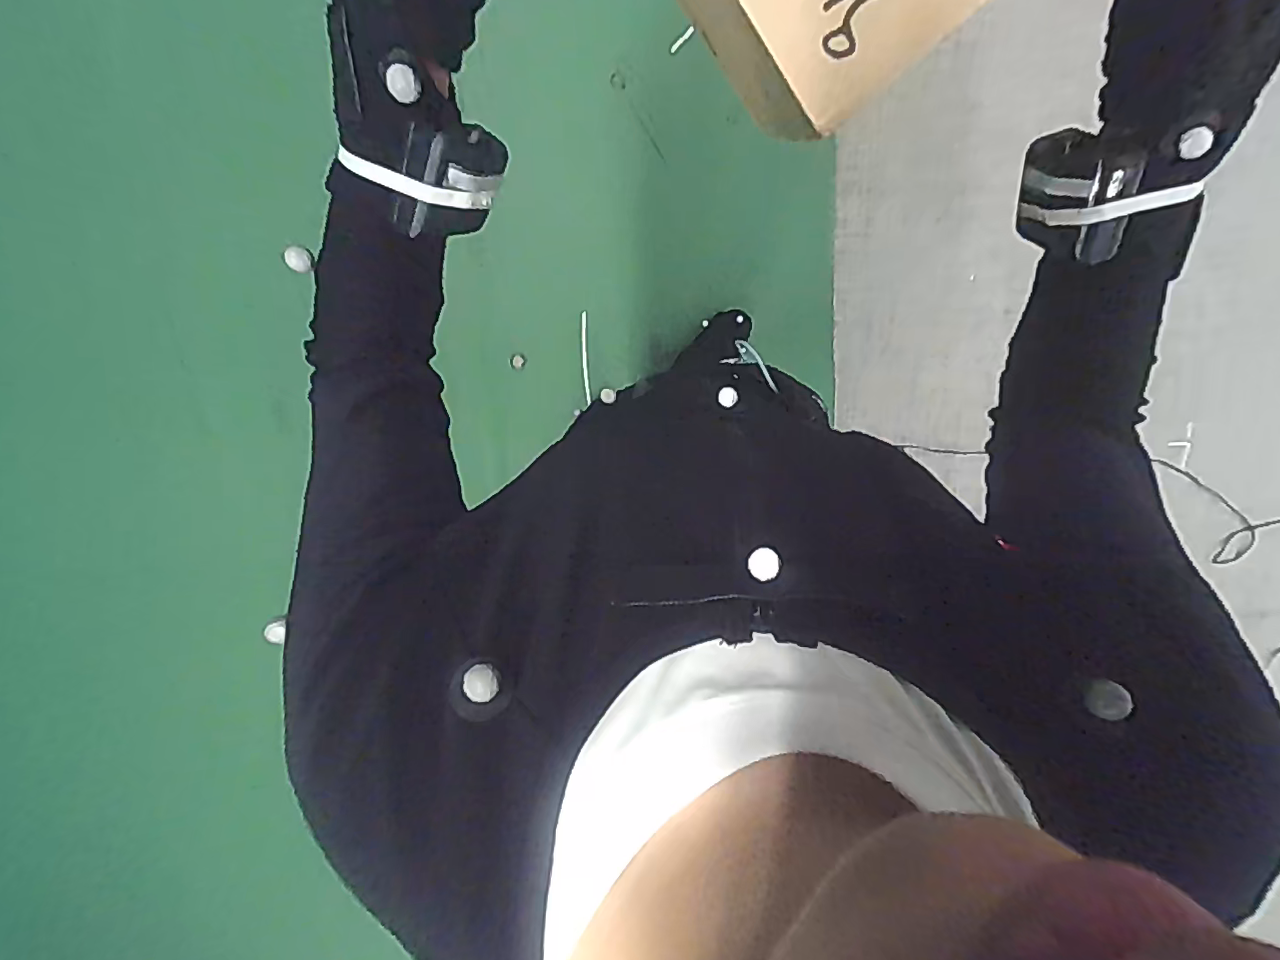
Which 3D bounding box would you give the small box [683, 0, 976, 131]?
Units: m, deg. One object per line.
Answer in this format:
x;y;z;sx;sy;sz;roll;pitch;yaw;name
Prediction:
0.087;-0.274;0.208;0.179;0.176;0.168;-34;114;24;small box
